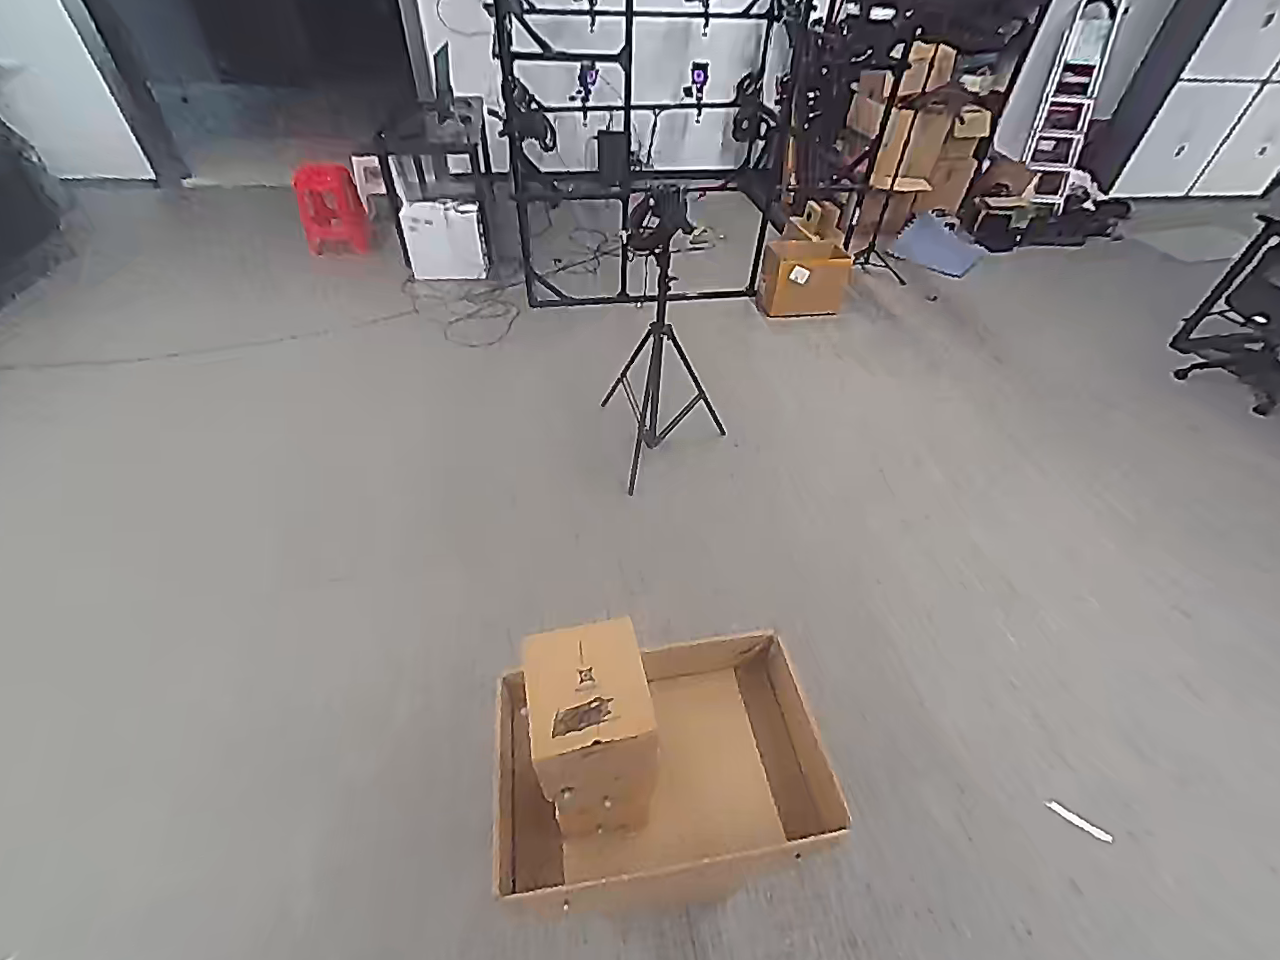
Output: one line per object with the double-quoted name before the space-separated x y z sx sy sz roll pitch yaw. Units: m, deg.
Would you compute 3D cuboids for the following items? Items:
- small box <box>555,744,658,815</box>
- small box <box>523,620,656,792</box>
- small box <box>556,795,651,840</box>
"small box" -0.069 0.443 0.928 0.168 0.176 0.179 -7 46 -8
"small box" -0.075 0.338 0.799 0.168 0.176 0.179 -9 46 -10
"small box" -0.077 0.562 1.041 0.168 0.176 0.179 -6 46 -8
